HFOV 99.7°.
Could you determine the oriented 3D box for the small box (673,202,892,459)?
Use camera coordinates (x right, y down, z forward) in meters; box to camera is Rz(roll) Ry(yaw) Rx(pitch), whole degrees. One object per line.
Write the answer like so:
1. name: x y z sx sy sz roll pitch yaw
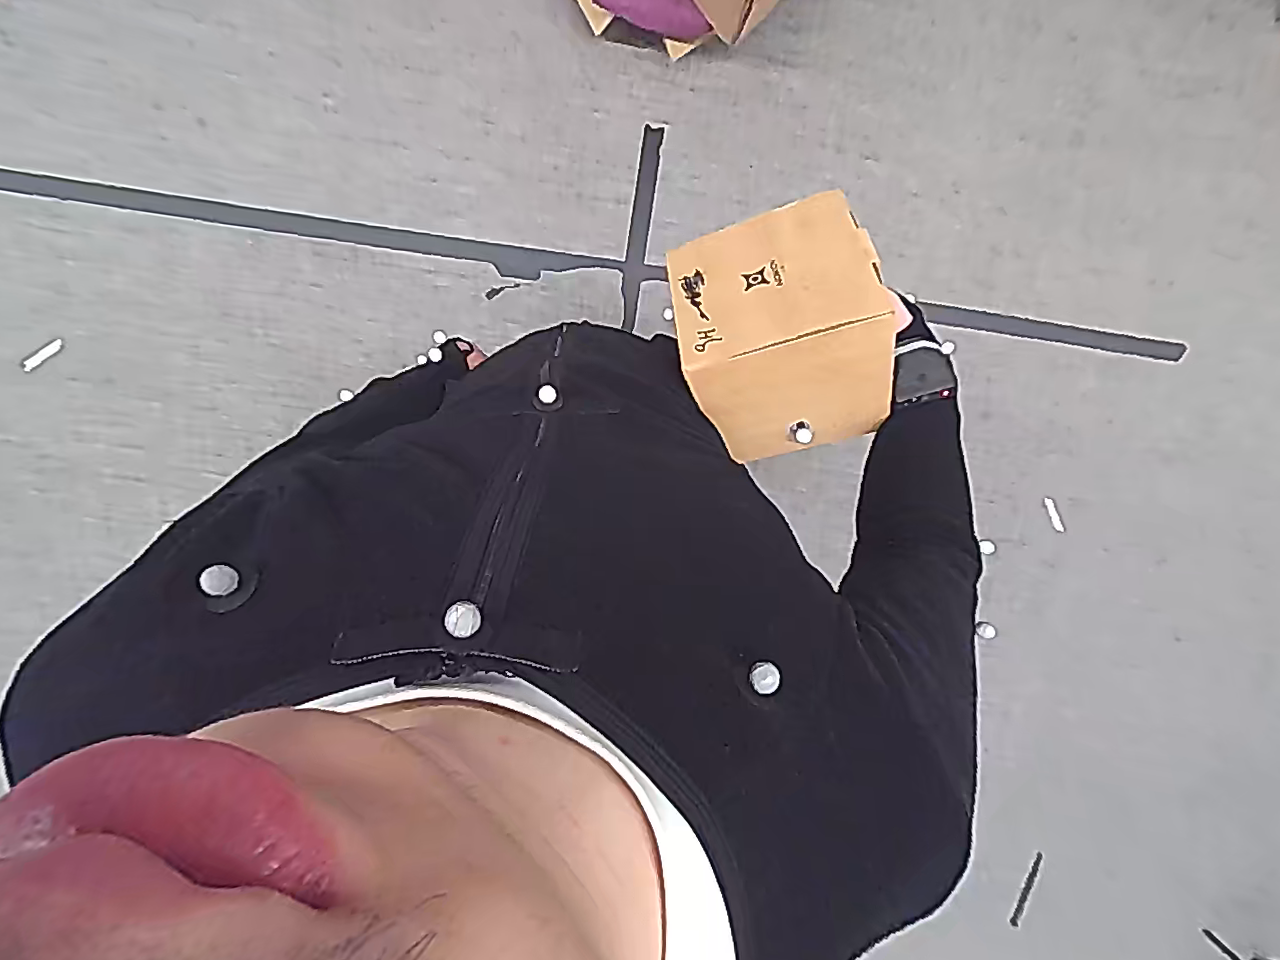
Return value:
1. small box: 0.146 -0.145 0.569 0.179 0.168 0.176 -14 147 14
